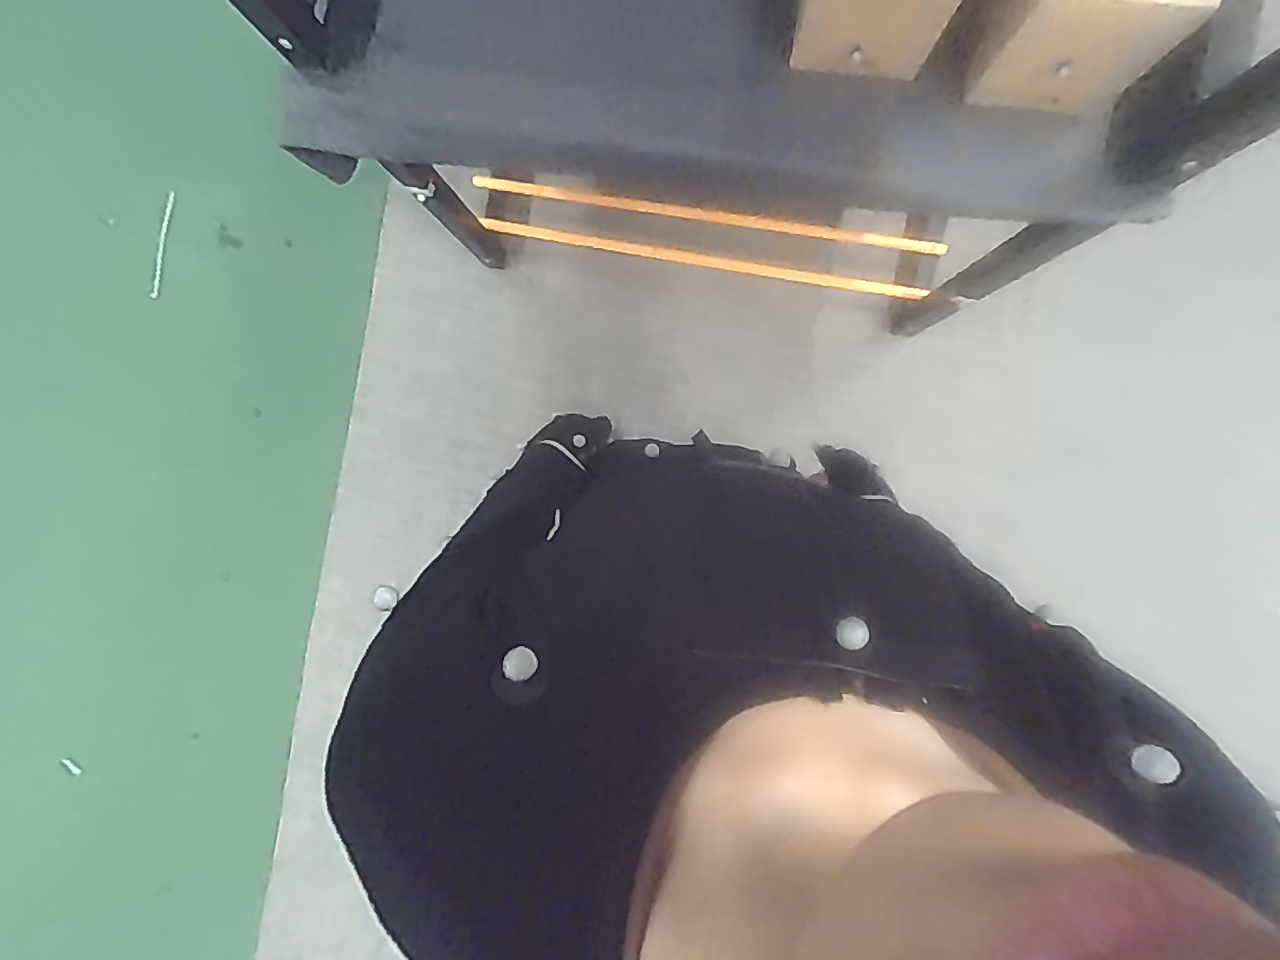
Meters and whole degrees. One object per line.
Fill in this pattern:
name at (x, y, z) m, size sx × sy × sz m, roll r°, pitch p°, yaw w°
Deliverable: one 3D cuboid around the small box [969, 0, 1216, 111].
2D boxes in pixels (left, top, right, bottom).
small box at (0.510, -0.564, 0.620) m, size 0.168 × 0.176 × 0.179 m, roll 9°, pitch 91°, yaw 4°
